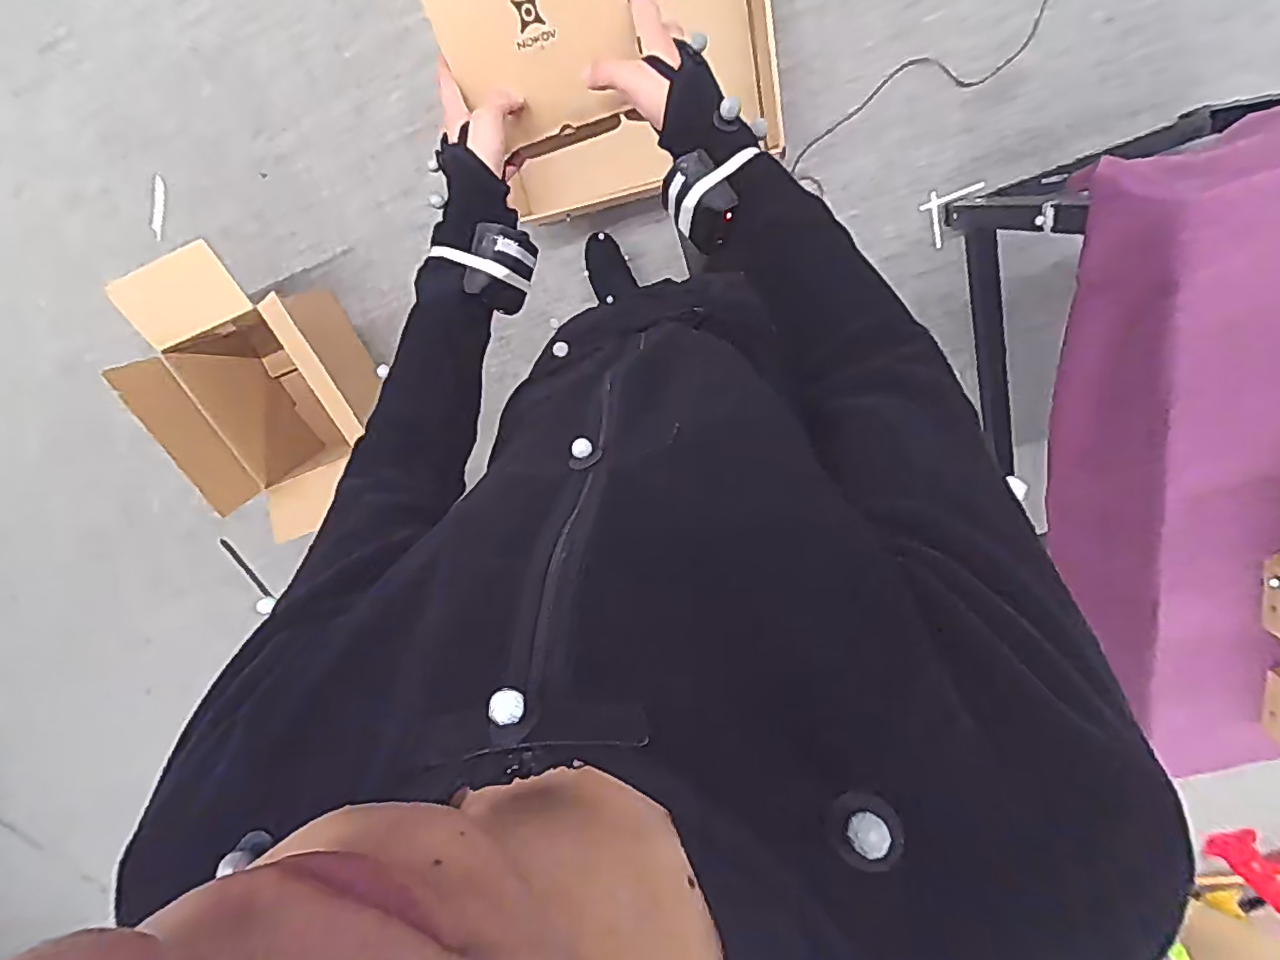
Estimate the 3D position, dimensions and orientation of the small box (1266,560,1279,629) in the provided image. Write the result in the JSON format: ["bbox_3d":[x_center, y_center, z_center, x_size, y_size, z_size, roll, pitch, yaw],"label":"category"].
[{"bbox_3d":[1.174,0.198,0.861,0.179,0.176,0.168,-22,114,12],"label":"small box"}]

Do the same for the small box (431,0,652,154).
[{"bbox_3d":[-0.087,-0.445,0.511,0.168,0.176,0.179,-12,131,10],"label":"small box"}]
